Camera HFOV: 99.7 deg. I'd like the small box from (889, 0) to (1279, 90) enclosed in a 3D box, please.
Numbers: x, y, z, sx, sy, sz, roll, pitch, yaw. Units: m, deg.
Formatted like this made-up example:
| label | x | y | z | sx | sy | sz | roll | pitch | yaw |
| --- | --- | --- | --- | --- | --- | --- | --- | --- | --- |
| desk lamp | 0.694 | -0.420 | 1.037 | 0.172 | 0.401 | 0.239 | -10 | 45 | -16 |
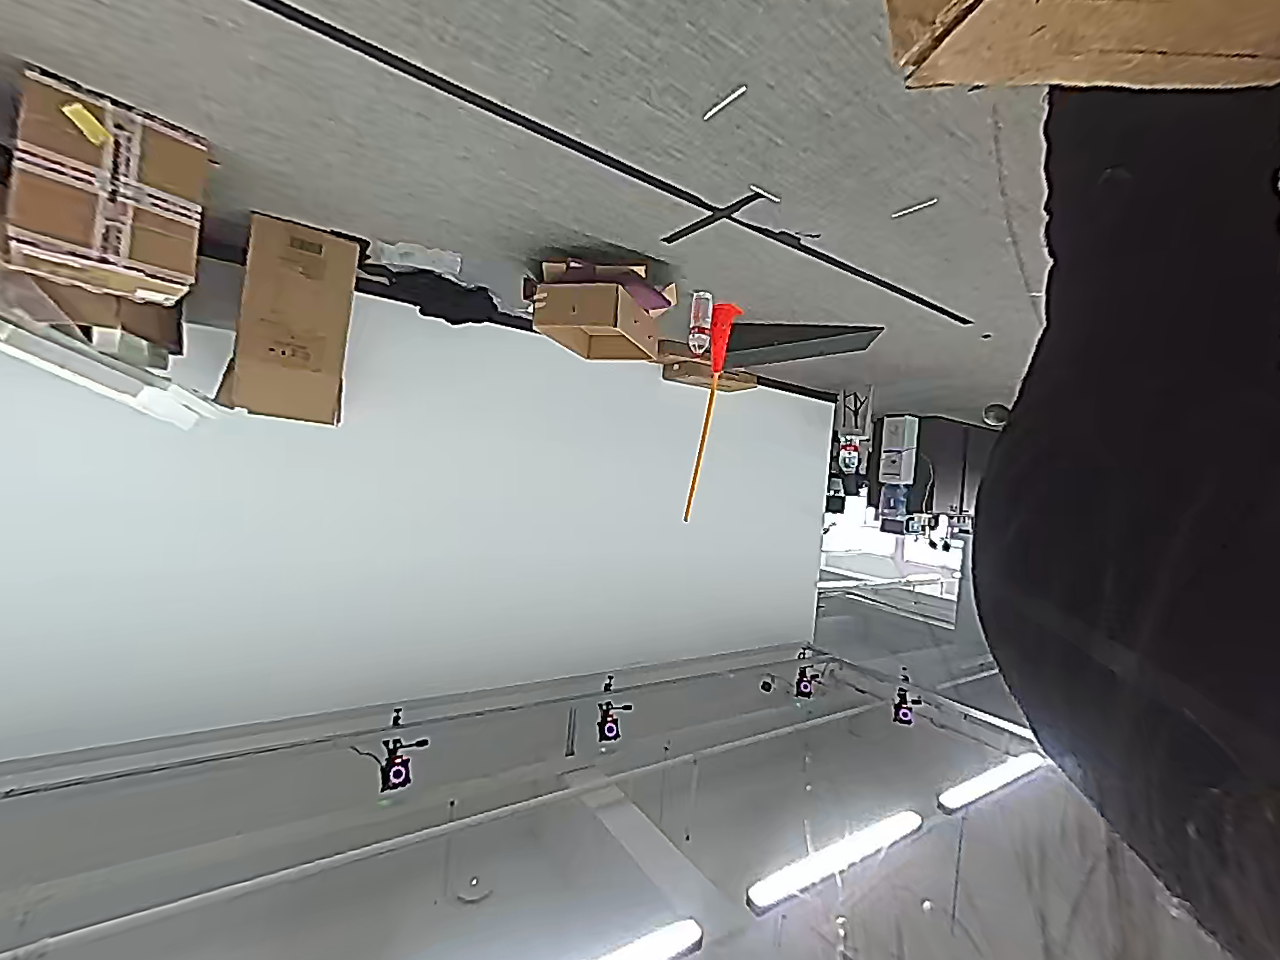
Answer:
| label | x | y | z | sx | sy | sz | roll | pitch | yaw |
| --- | --- | --- | --- | --- | --- | --- | --- | --- | --- |
| small box | 0.163 | -0.219 | 0.104 | 0.179 | 0.176 | 0.168 | -11 | -175 | -15 |
